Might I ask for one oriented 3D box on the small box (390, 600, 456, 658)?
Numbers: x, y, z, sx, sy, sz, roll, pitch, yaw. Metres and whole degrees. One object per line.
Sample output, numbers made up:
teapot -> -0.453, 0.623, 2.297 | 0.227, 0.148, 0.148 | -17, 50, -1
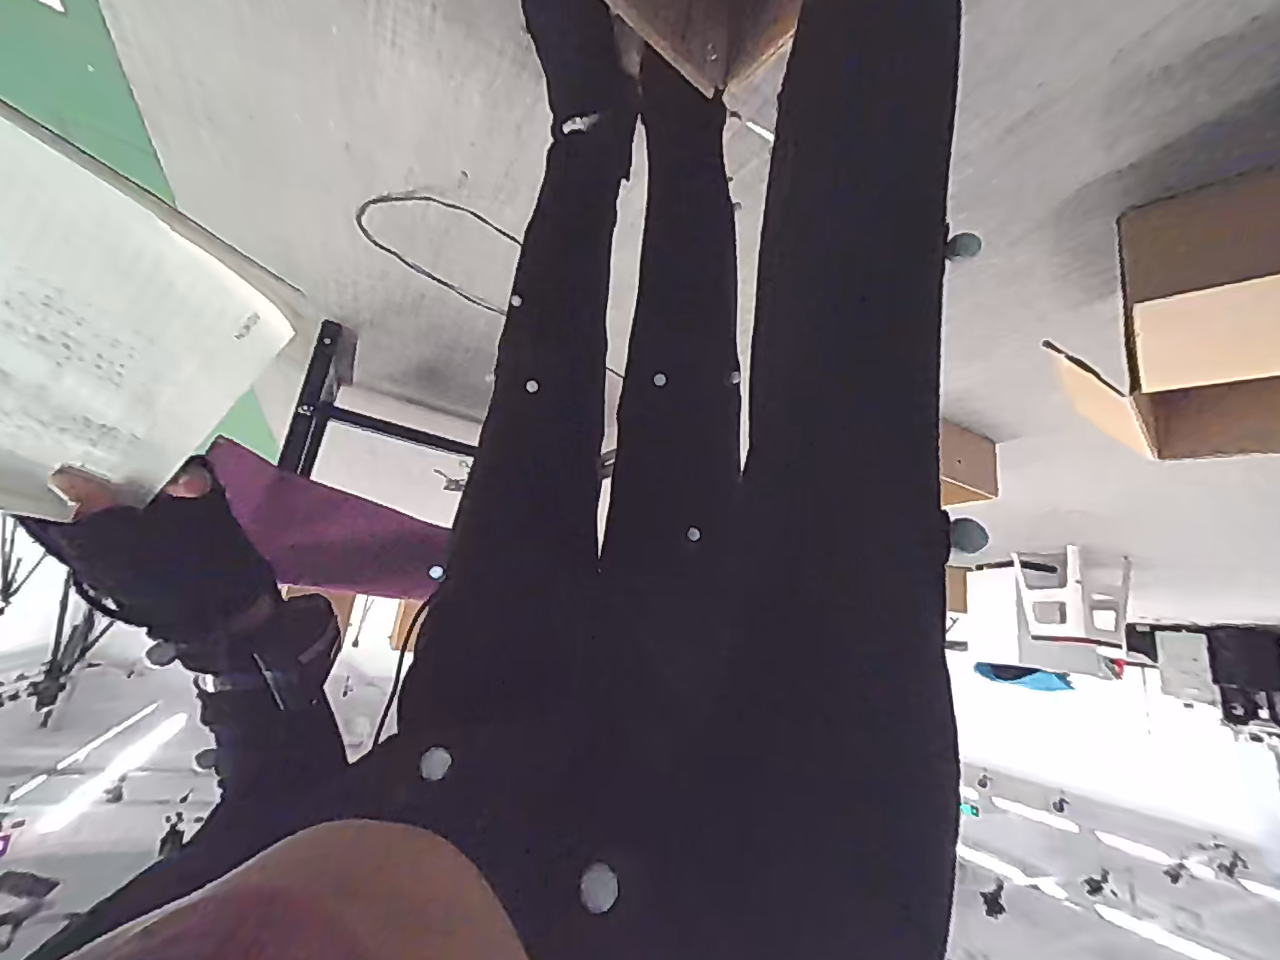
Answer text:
small box -> -0.738, 0.504, 1.843 | 0.168, 0.176, 0.179 | 16, 163, -27

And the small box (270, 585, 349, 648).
small box -> -1.015, 0.418, 1.665 | 0.168, 0.176, 0.179 | 19, 160, -34
